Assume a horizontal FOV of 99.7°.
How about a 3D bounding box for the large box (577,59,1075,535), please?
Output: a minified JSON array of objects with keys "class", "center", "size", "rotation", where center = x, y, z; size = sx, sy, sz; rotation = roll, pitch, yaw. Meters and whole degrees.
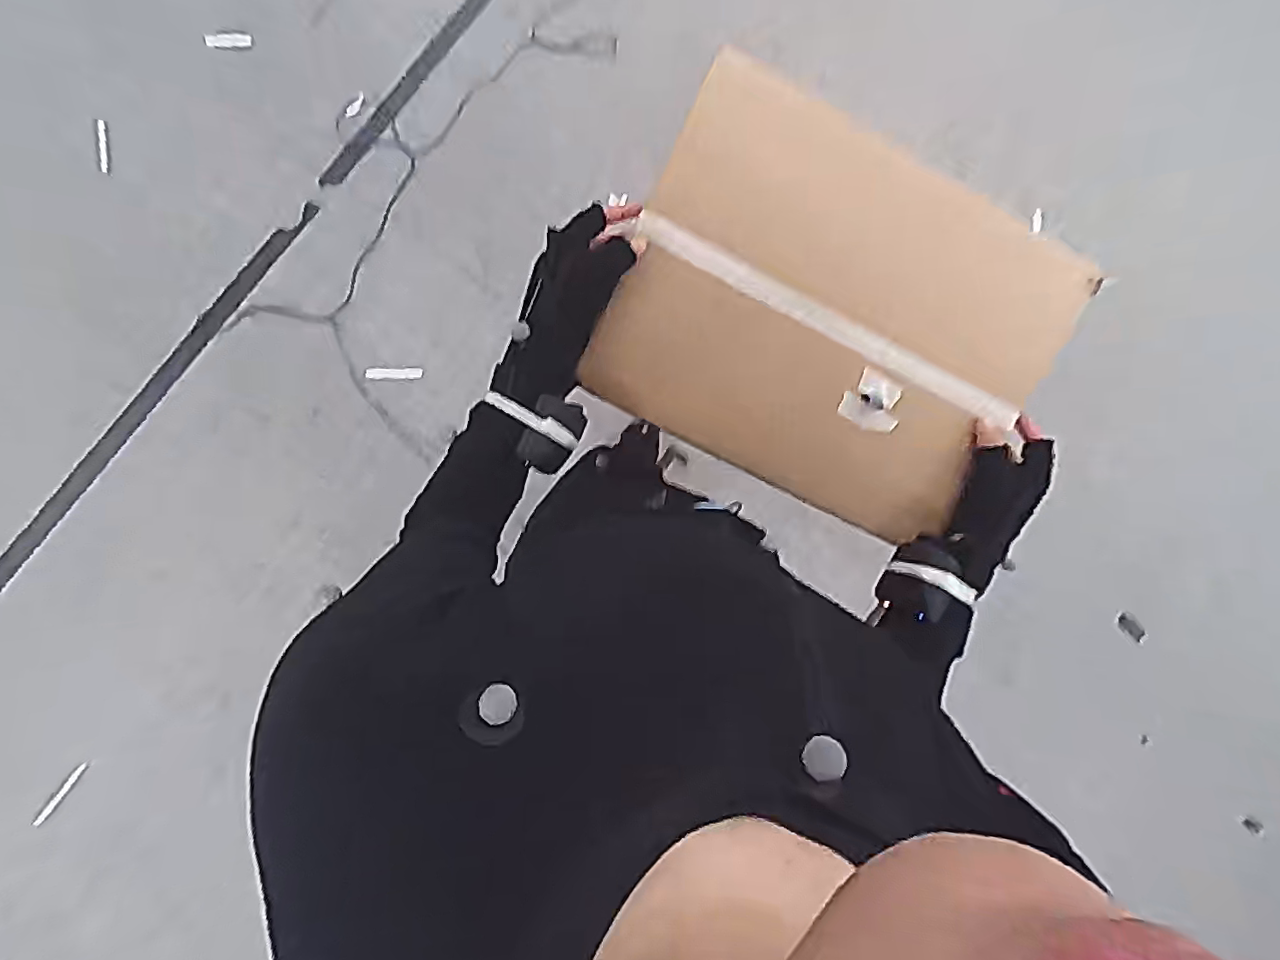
[{"class":"large box","center":[0.172,-0.185,0.667],"size":[0.408,0.320,0.320],"rotation":[26,100,-7]}]
